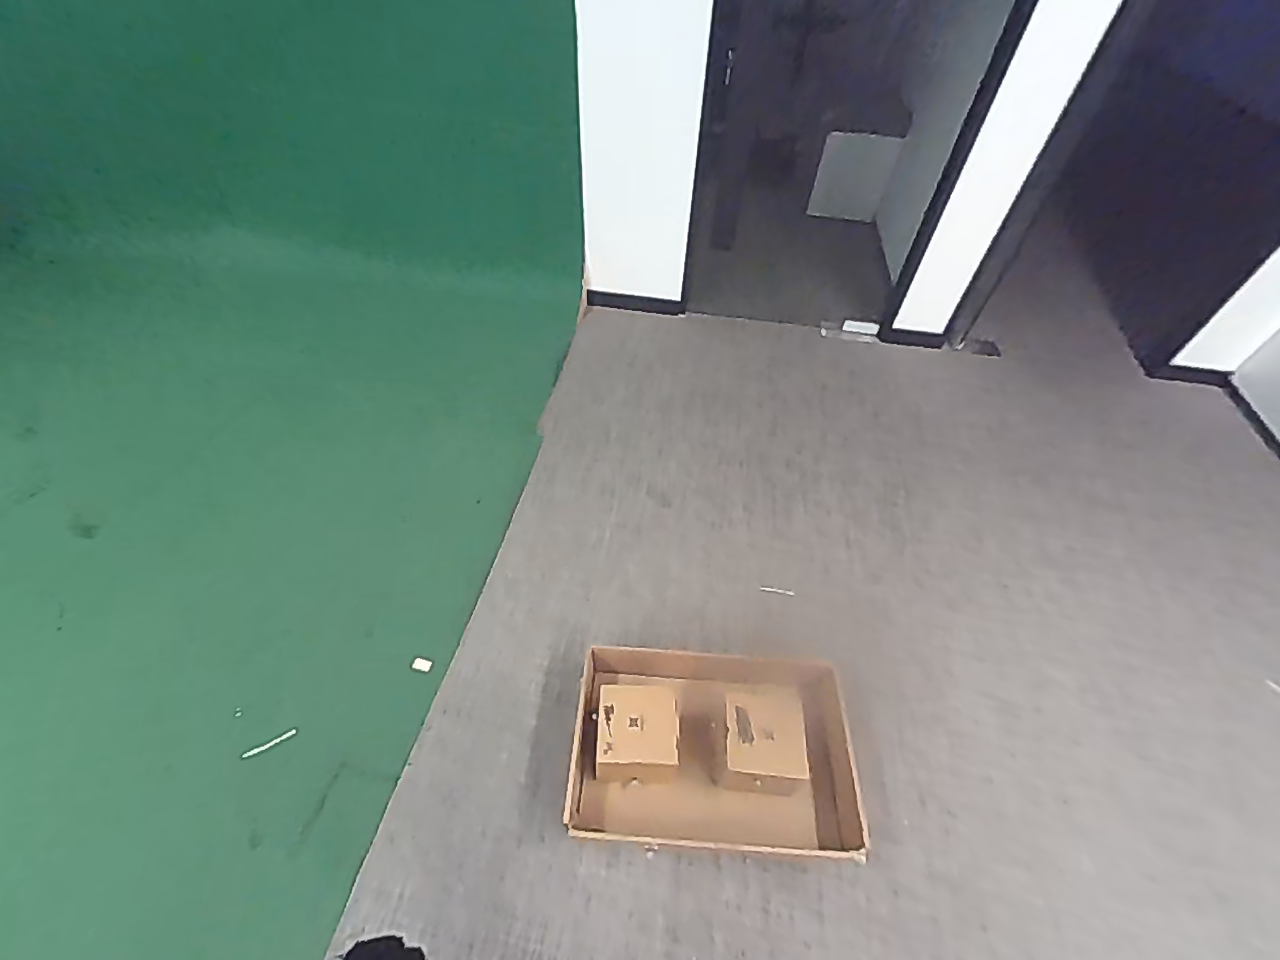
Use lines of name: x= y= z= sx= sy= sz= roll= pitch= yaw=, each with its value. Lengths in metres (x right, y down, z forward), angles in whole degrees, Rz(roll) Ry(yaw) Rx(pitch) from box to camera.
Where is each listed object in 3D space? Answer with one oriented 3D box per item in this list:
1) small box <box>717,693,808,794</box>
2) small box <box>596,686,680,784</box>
small box: x=0.273 y=0.611 z=1.247 sx=0.179 sy=0.176 sz=0.168 roll=5 pitch=49 yaw=3
small box: x=-0.007 y=0.591 z=1.249 sx=0.179 sy=0.176 sz=0.168 roll=3 pitch=48 yaw=-2
